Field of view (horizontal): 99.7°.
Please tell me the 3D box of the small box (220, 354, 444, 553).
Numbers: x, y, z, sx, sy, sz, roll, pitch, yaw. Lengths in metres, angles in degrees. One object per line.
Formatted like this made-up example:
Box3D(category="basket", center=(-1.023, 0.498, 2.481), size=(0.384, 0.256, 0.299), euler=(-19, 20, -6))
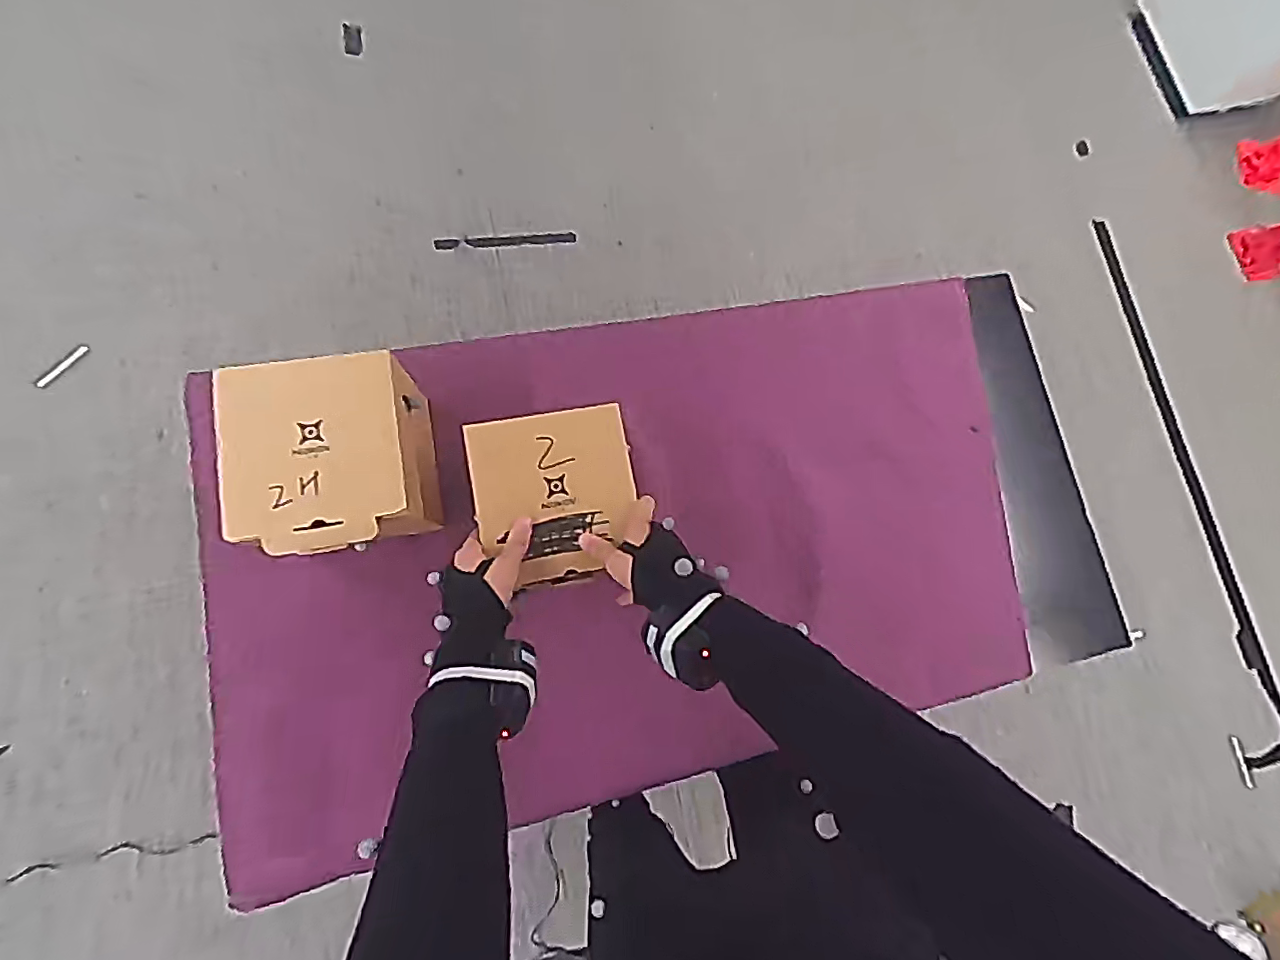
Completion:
Box3D(category="small box", center=(-0.329, -0.021, 0.608), size=(0.168, 0.176, 0.179), euler=(-10, 82, -9))
